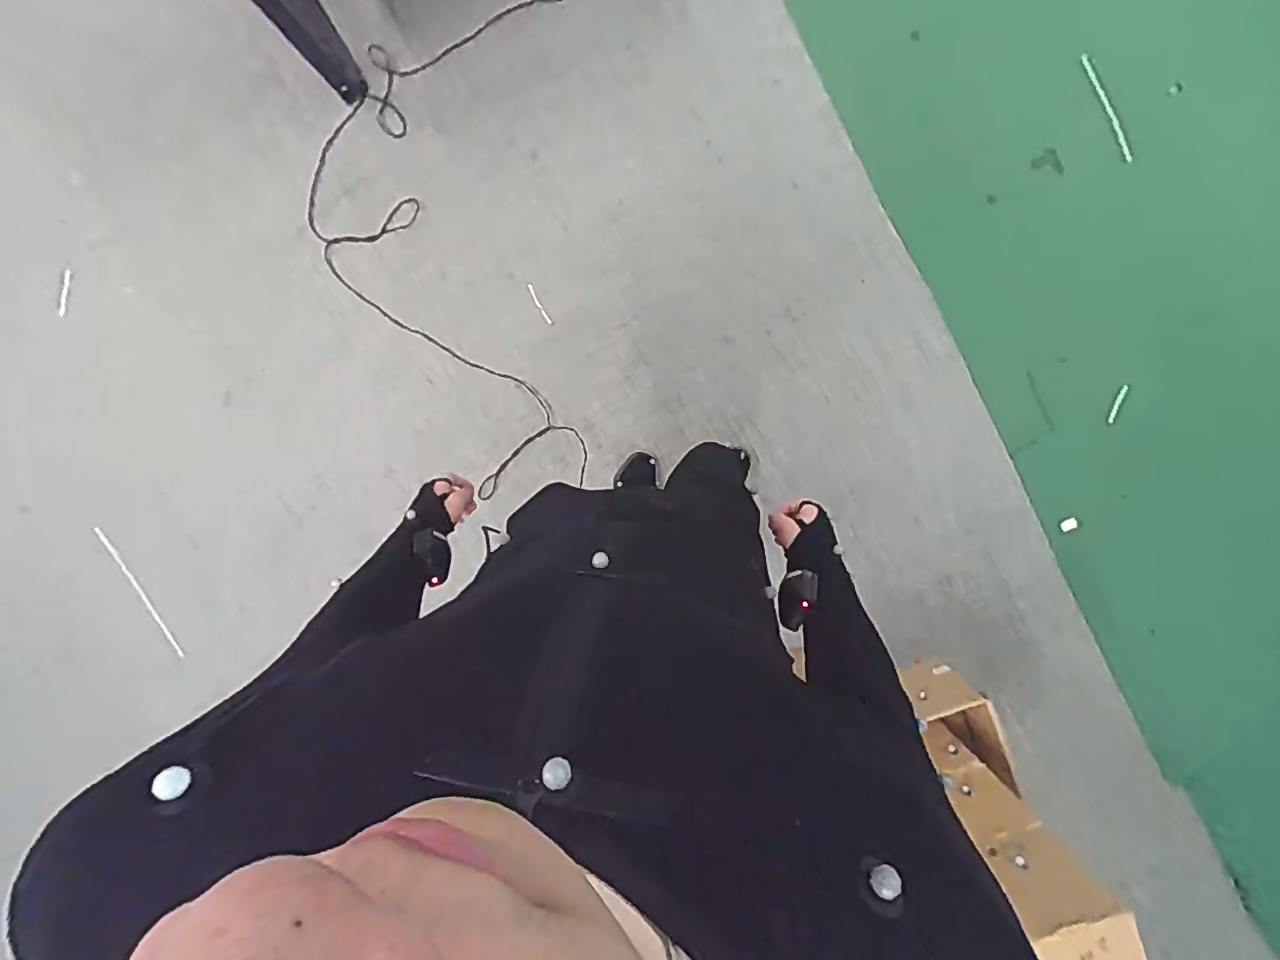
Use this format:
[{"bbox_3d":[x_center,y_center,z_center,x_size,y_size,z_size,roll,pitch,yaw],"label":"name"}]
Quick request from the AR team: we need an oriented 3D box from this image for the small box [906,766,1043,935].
[{"bbox_3d":[0.633,0.682,1.012,0.168,0.176,0.179,-20,95,3],"label":"small box"}]

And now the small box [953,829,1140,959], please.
[{"bbox_3d":[0.633,0.702,0.848,0.168,0.176,0.179,-19,95,2],"label":"small box"}]
